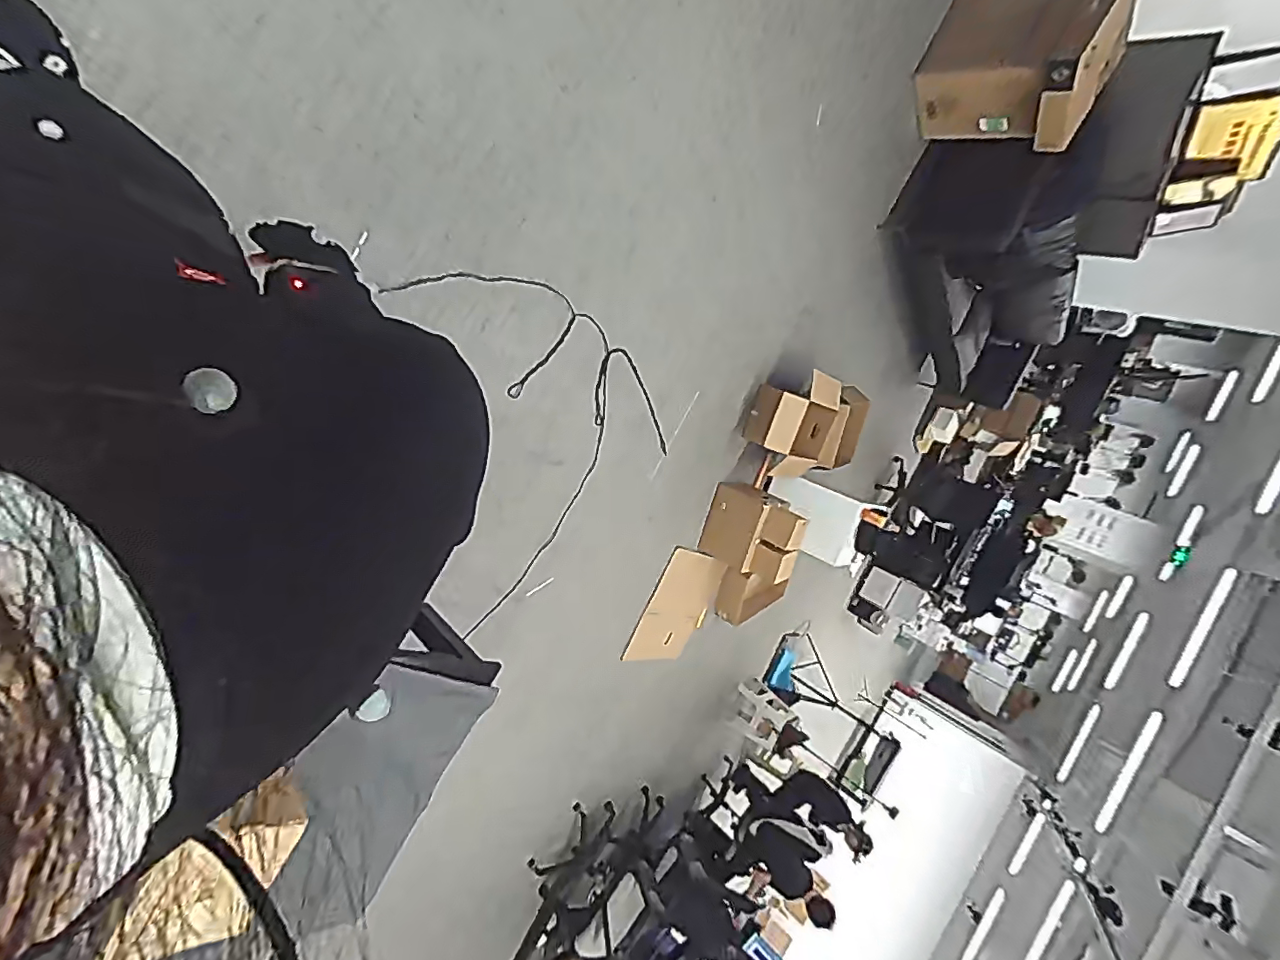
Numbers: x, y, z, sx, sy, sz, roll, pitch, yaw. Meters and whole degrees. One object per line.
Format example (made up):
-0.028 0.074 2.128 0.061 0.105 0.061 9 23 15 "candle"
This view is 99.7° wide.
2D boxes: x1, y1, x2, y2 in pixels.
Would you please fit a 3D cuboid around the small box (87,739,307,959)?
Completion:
-0.603 0.484 0.736 0.179 0.176 0.168 -60 143 -3 "small box"
